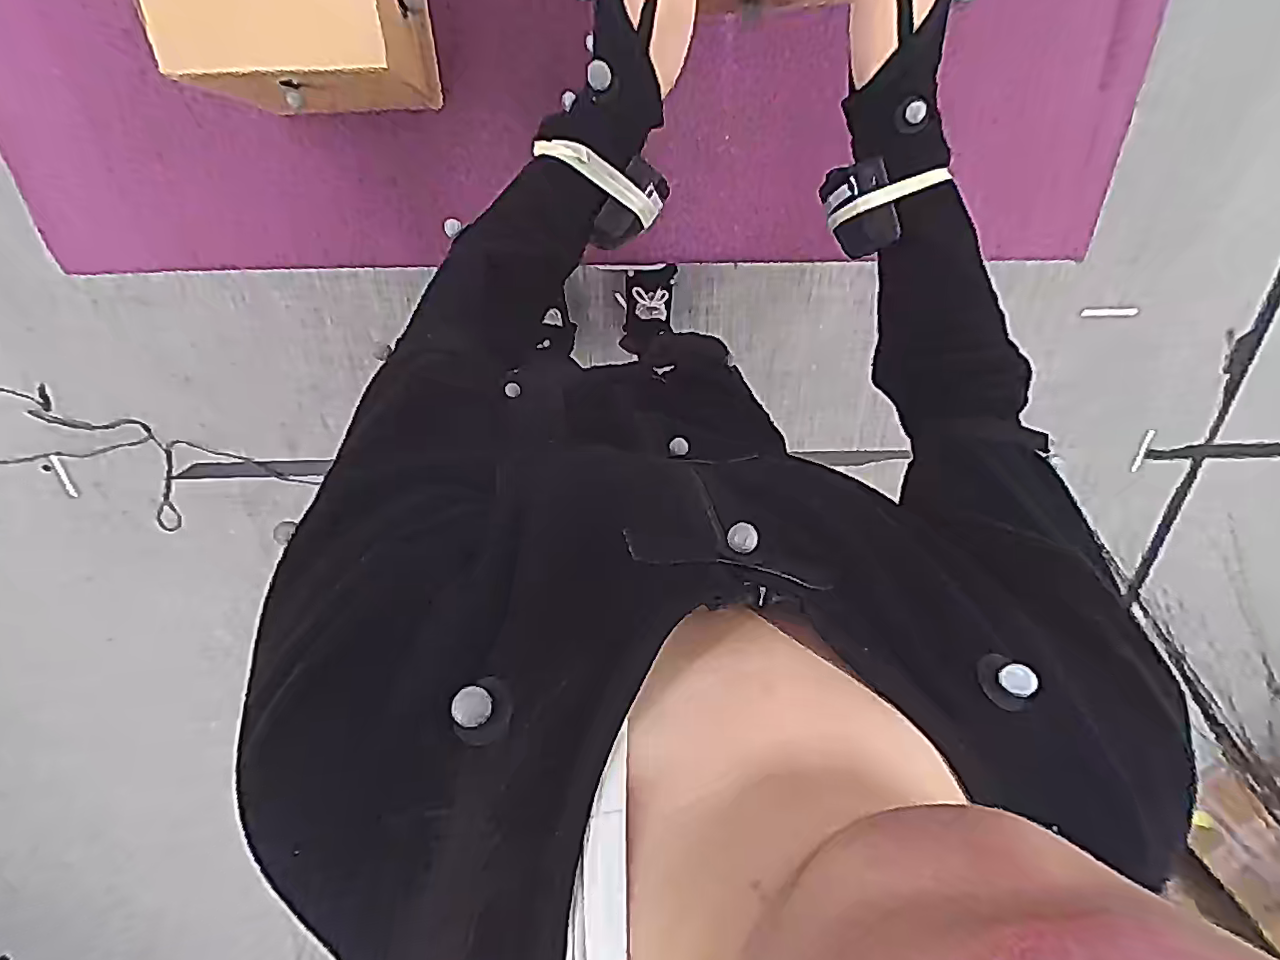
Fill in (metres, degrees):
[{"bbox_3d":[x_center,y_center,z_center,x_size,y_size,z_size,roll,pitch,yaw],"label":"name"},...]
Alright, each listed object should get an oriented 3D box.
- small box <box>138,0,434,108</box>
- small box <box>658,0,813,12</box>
[{"bbox_3d":[-0.287,-0.425,0.453,0.179,0.176,0.168,-3,117,-1],"label":"small box"},{"bbox_3d":[0.081,-0.443,0.353,0.168,0.176,0.179,-2,122,4],"label":"small box"}]
